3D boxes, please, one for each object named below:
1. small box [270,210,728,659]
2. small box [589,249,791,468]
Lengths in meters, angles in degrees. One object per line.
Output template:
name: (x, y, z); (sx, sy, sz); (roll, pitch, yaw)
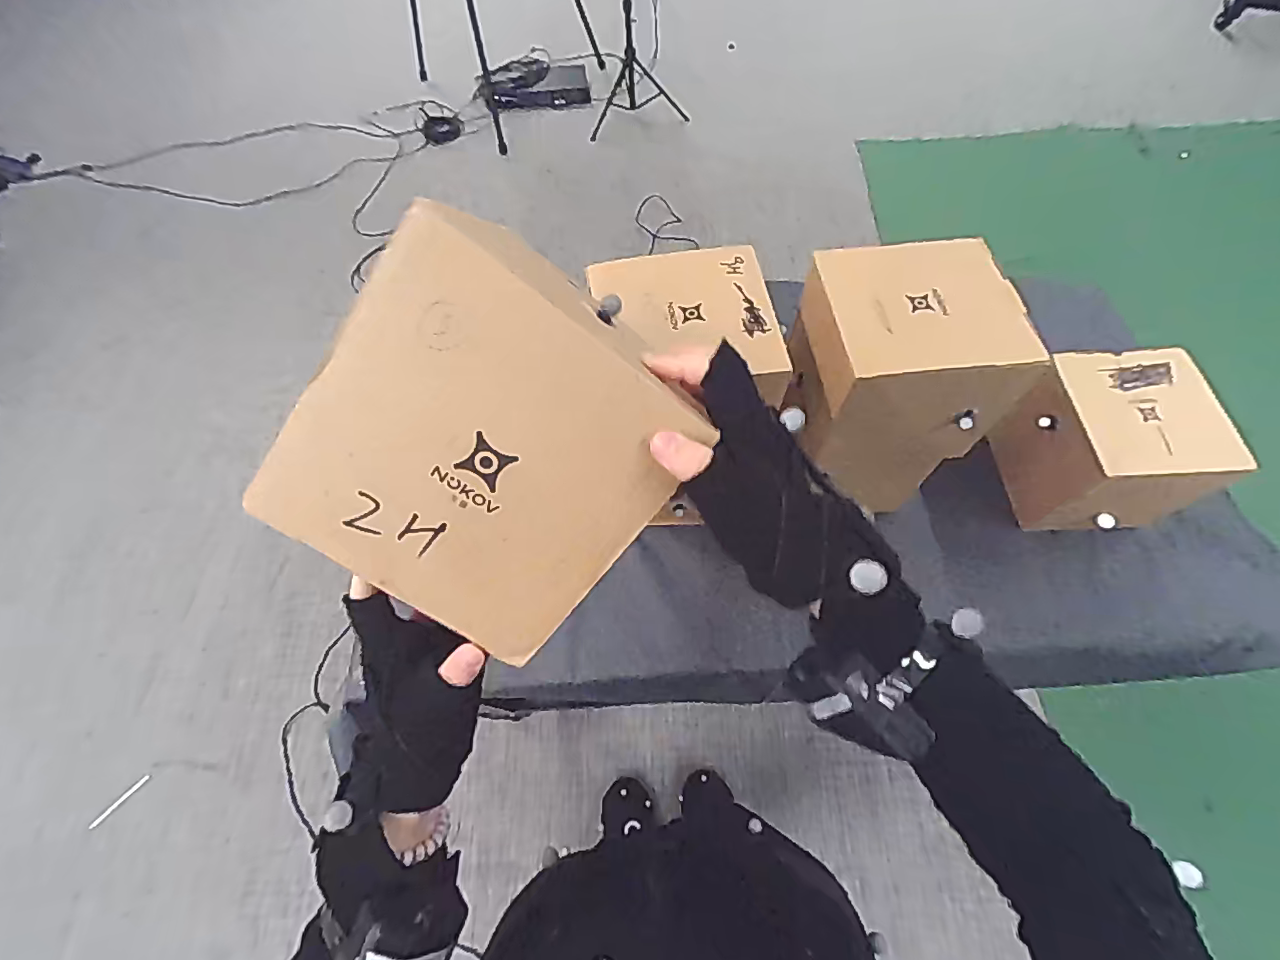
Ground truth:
small box: (-0.074, -0.035, 0.340); (0.168, 0.176, 0.179); (34, 108, -13)
small box: (0.048, -0.118, 0.594); (0.179, 0.176, 0.168); (-8, 63, -1)
